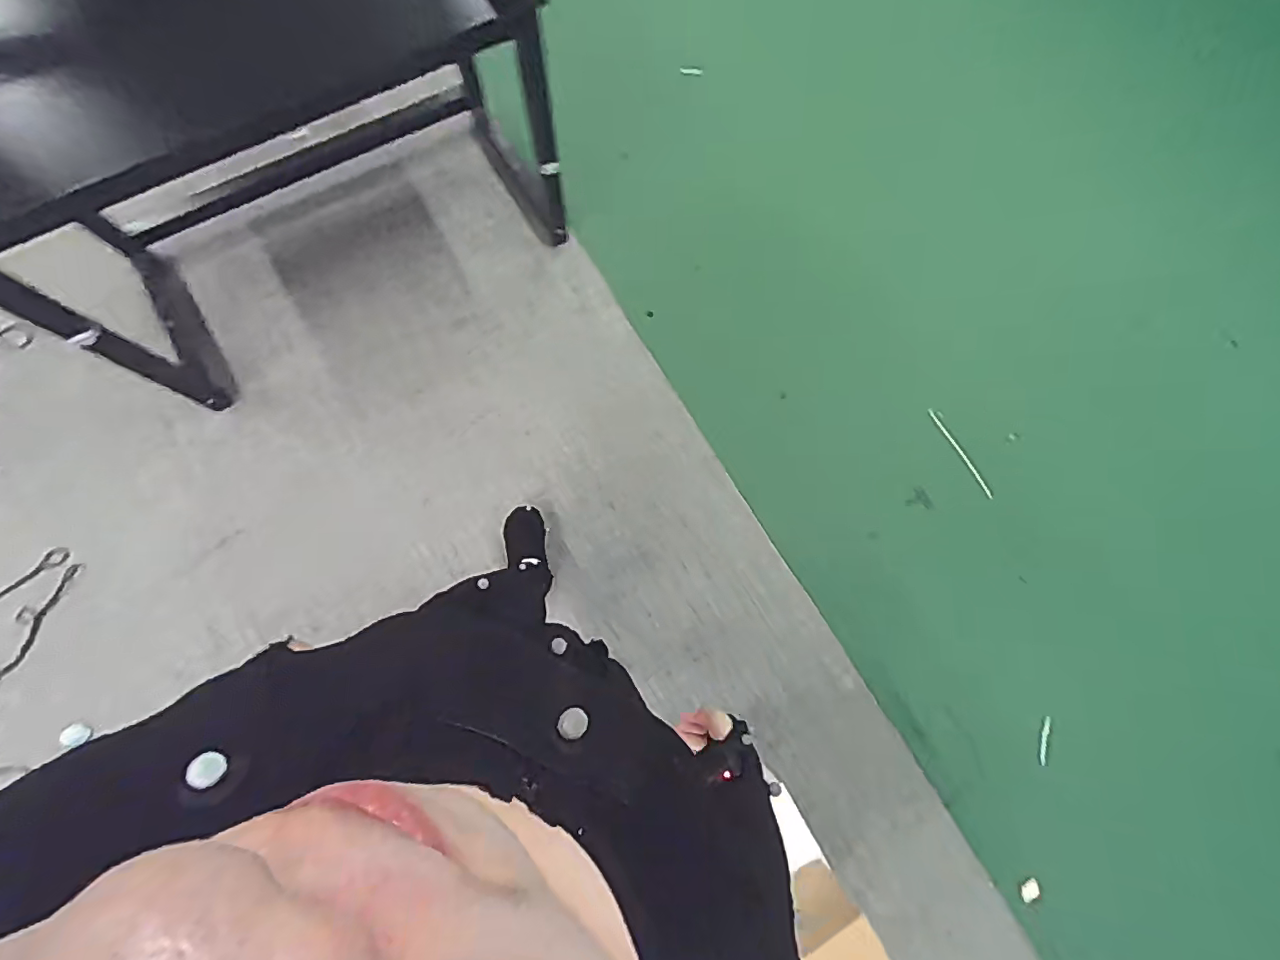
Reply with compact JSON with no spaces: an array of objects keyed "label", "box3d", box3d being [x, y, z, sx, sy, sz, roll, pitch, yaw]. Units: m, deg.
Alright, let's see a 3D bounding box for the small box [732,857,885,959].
[{"label":"small box","box3d":[0.249,0.682,0.751,0.168,0.176,0.179,-28,80,-8]}]
